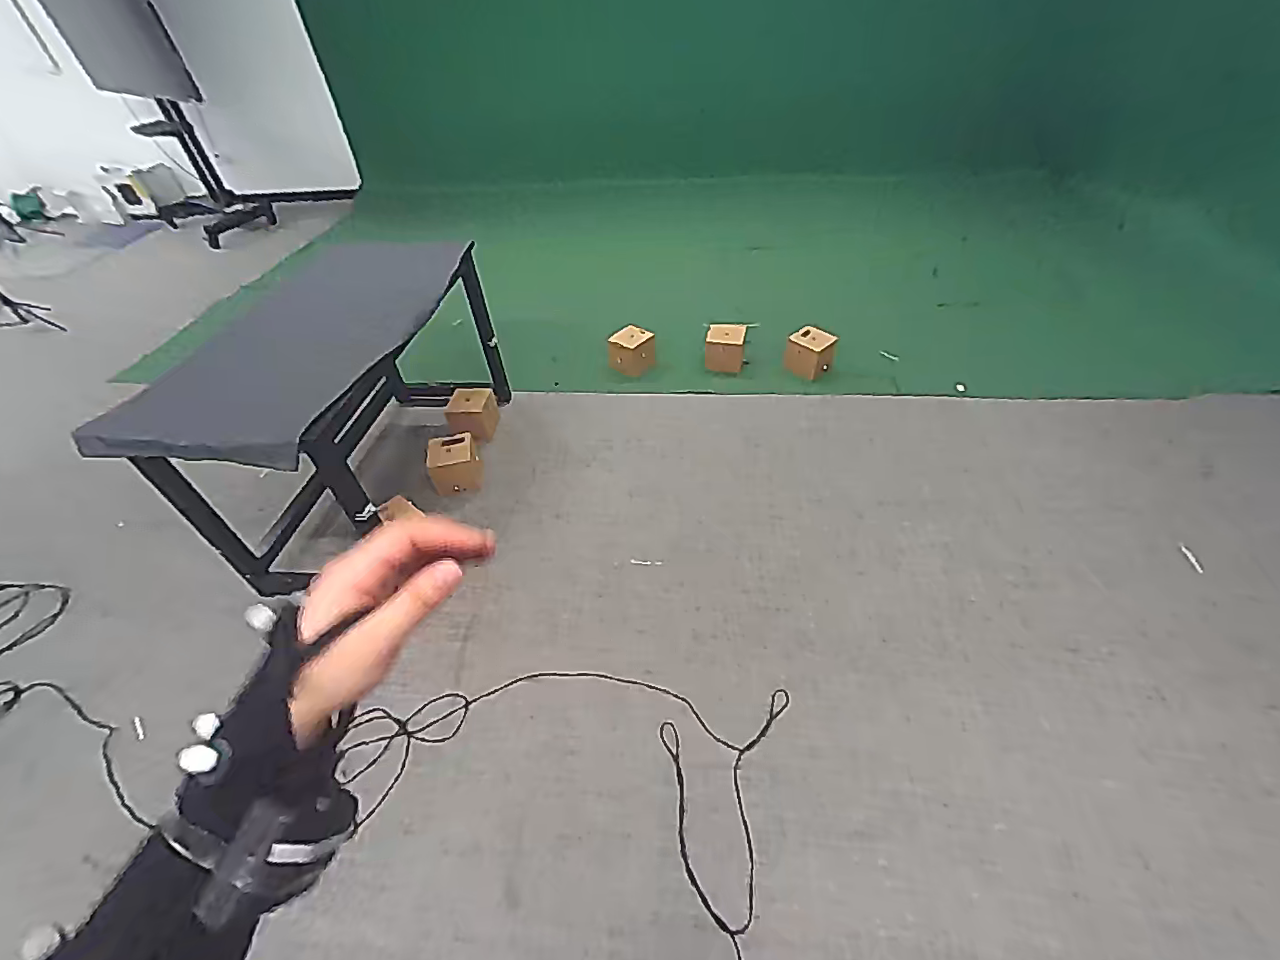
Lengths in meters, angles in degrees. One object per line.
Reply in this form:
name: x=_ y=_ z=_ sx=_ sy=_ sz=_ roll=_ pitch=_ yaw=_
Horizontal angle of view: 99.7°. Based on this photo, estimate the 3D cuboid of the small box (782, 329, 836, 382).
small box: x=0.802 y=-0.594 z=2.586 sx=0.168 sy=0.176 sz=0.179 roll=-34 pitch=53 yaw=-28

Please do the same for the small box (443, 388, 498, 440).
small box: x=-0.742 y=-0.289 z=2.389 sx=0.168 sy=0.176 sz=0.179 roll=1 pitch=44 yaw=5

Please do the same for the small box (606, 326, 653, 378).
small box: x=-0.046 y=-0.636 z=2.696 sx=0.168 sy=0.176 sz=0.179 roll=29 pitch=53 yaw=30

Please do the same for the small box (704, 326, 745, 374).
small box: x=0.413 y=-0.639 z=2.663 sx=0.179 sy=0.176 sz=0.168 roll=9 pitch=47 yaw=12

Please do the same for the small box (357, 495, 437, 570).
small box: x=-0.852 y=0.191 z=1.911 sx=0.179 sy=0.176 sz=0.168 roll=27 pitch=53 yaw=29
